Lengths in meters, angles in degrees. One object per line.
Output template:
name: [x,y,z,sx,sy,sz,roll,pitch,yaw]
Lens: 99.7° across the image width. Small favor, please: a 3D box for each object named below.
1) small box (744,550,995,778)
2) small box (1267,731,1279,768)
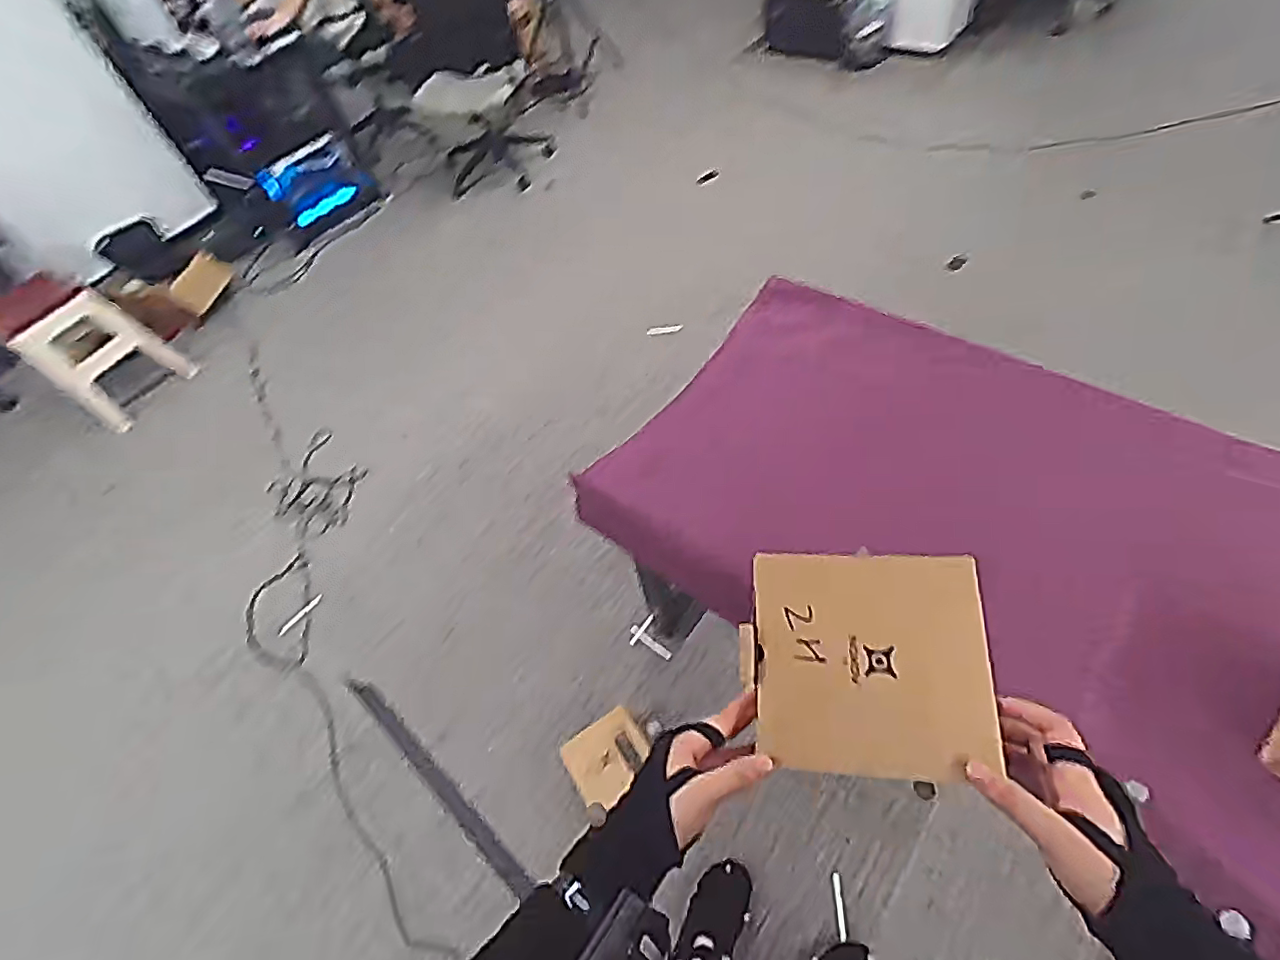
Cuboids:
small box: [0.187,0.162,0.499,0.179,0.176,0.168,-2,70,12]
small box: [0.779,0.260,0.506,0.168,0.176,0.179,-39,59,-17]
